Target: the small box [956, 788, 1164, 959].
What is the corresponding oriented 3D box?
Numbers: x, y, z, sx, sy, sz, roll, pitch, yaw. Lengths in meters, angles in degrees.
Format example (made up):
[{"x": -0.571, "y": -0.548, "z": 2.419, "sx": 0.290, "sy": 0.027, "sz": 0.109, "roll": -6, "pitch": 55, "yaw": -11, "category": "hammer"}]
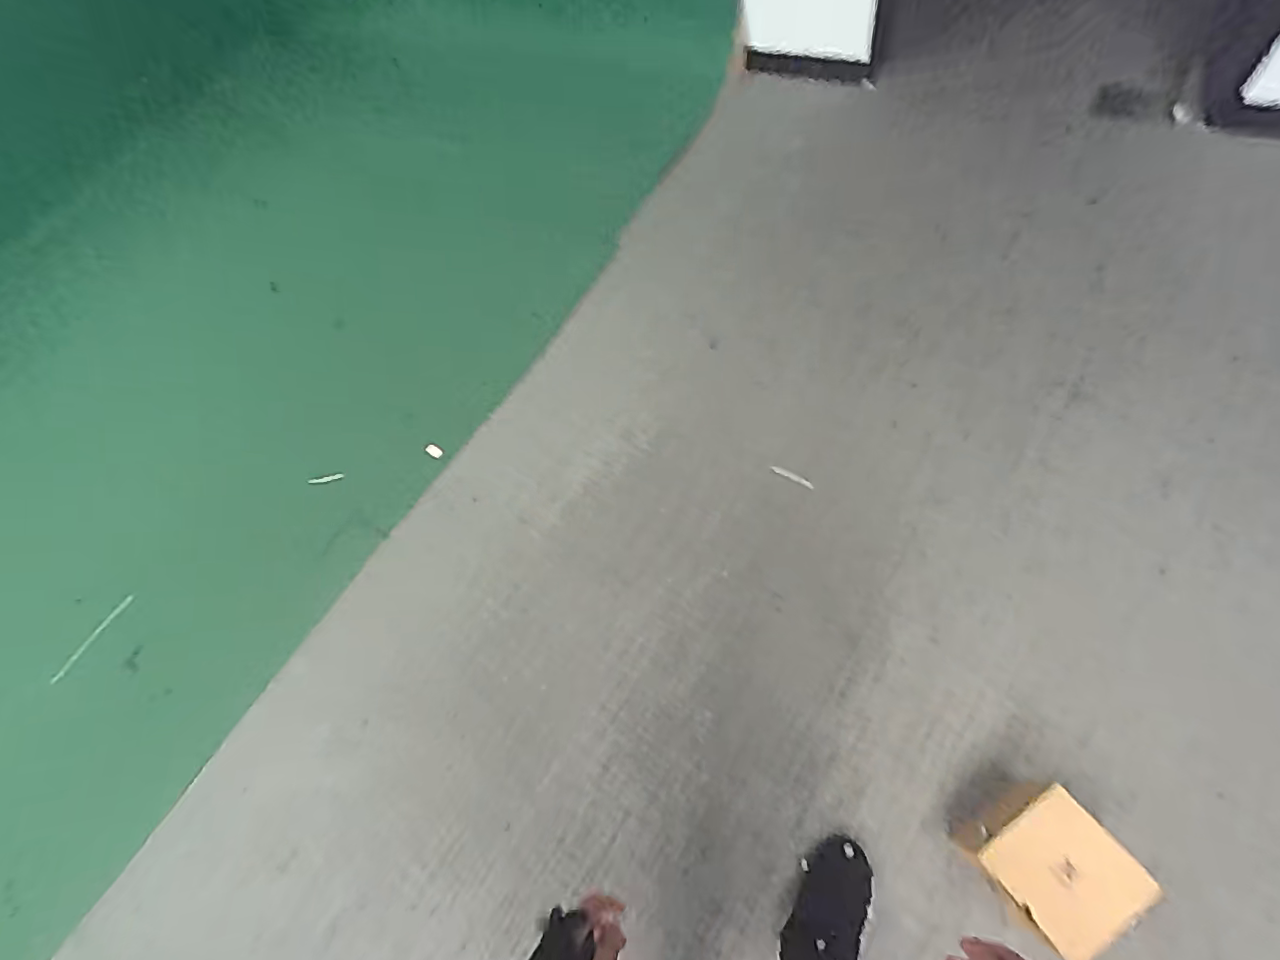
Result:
[{"x": 0.648, "y": 0.624, "z": 0.864, "sx": 0.179, "sy": 0.176, "sz": 0.168, "roll": -38, "pitch": 62, "yaw": -4, "category": "small box"}]
